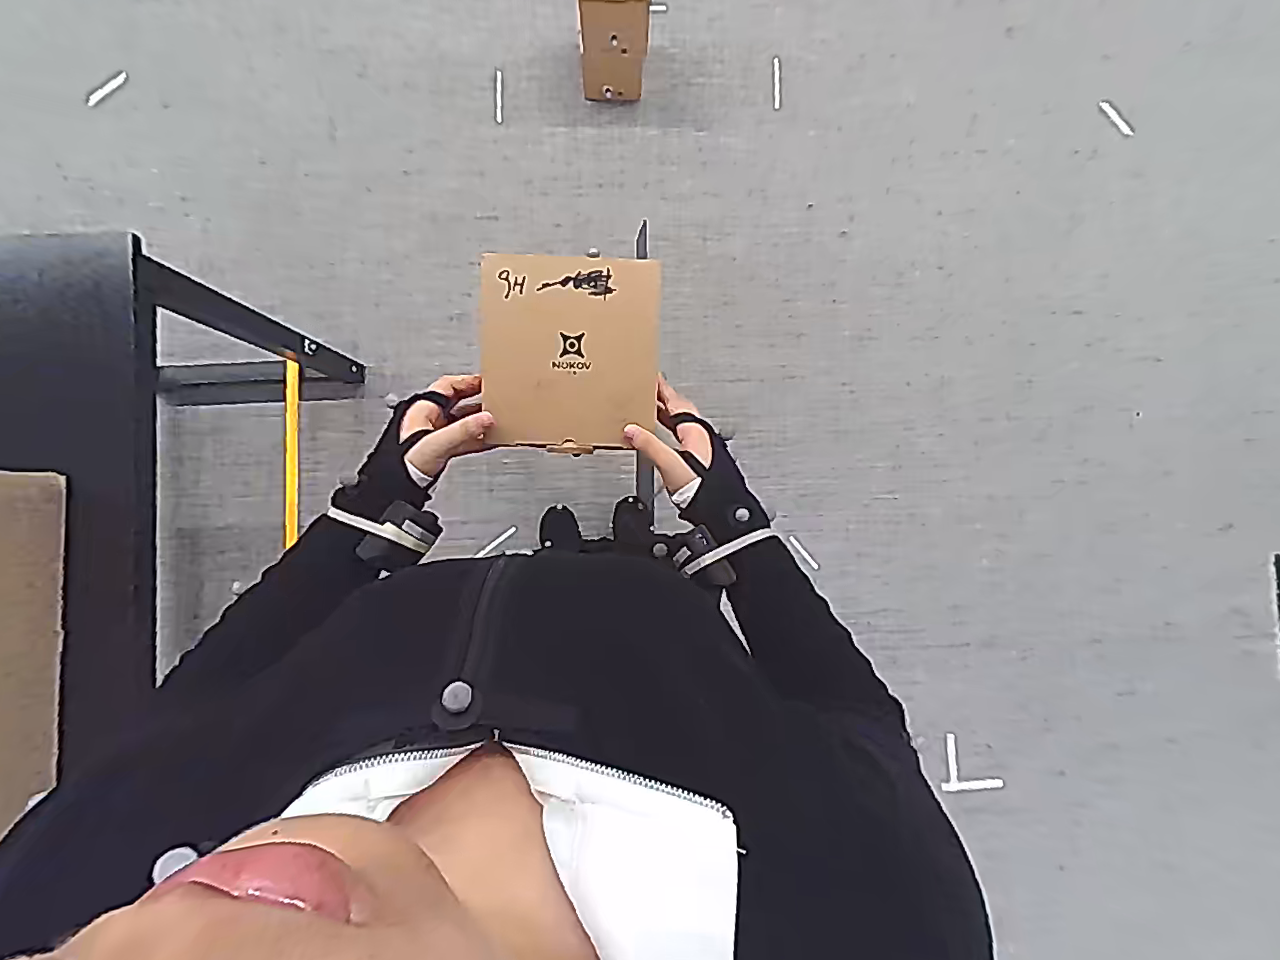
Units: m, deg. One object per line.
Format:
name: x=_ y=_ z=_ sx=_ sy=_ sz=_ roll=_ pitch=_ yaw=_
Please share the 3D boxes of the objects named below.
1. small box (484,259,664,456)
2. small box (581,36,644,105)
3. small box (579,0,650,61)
small box: x=-0.063 y=-0.125 z=0.579 sx=0.168 sy=0.176 sz=0.179 roll=1 pitch=99 yaw=-2
small box: x=-0.075 y=-1.169 z=1.473 sx=0.168 sy=0.176 sz=0.179 roll=-1 pitch=89 yaw=-1
small box: x=-0.062 y=-1.166 z=1.308 sx=0.168 sy=0.176 sz=0.179 roll=0 pitch=88 yaw=-1
